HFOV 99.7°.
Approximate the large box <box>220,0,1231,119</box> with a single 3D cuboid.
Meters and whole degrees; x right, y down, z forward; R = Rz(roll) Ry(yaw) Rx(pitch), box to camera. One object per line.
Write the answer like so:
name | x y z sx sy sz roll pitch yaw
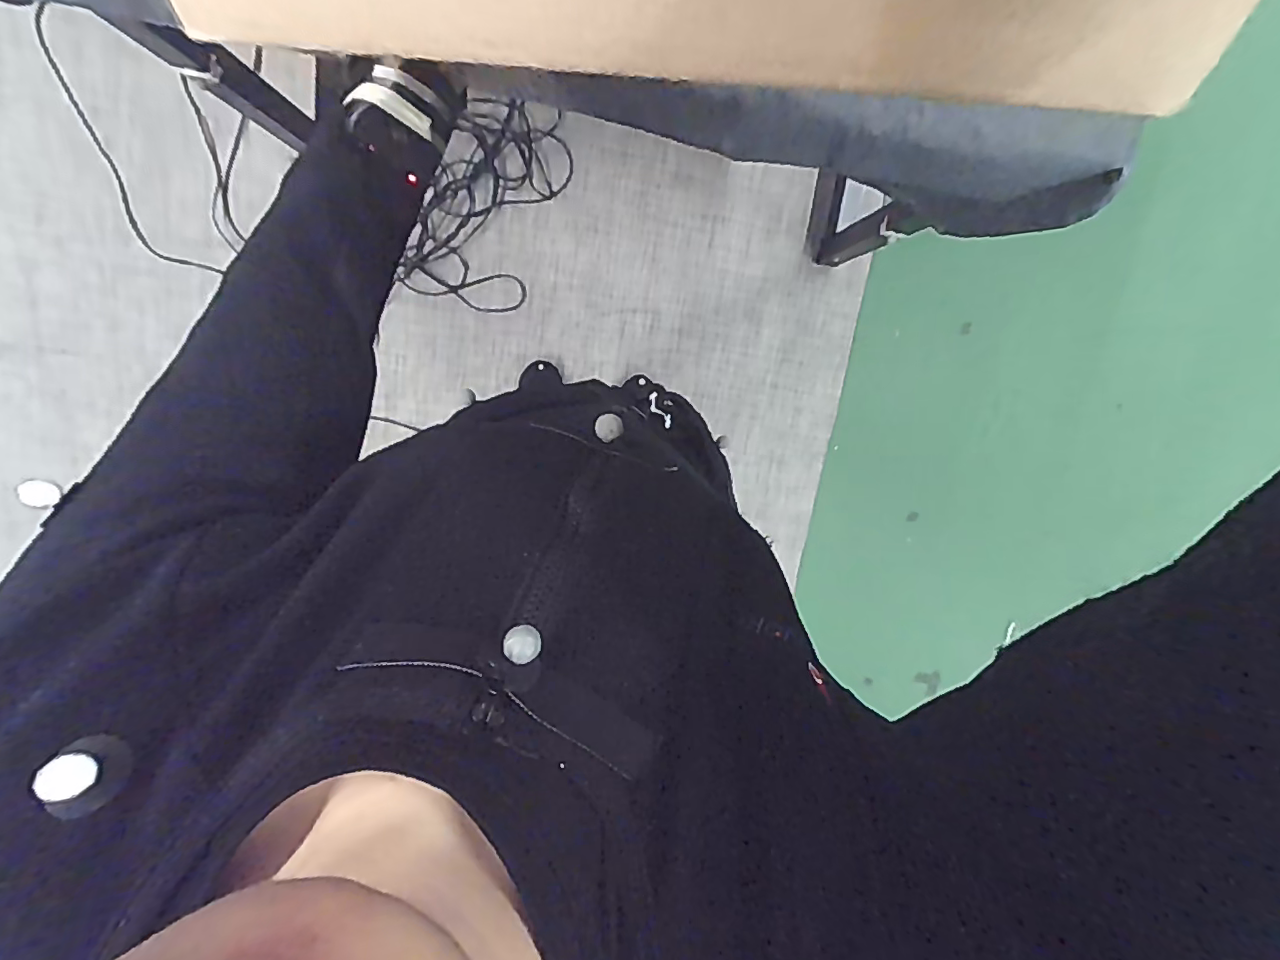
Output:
large box | 0.033 -0.373 0.201 0.408 0.320 0.320 8 143 7
